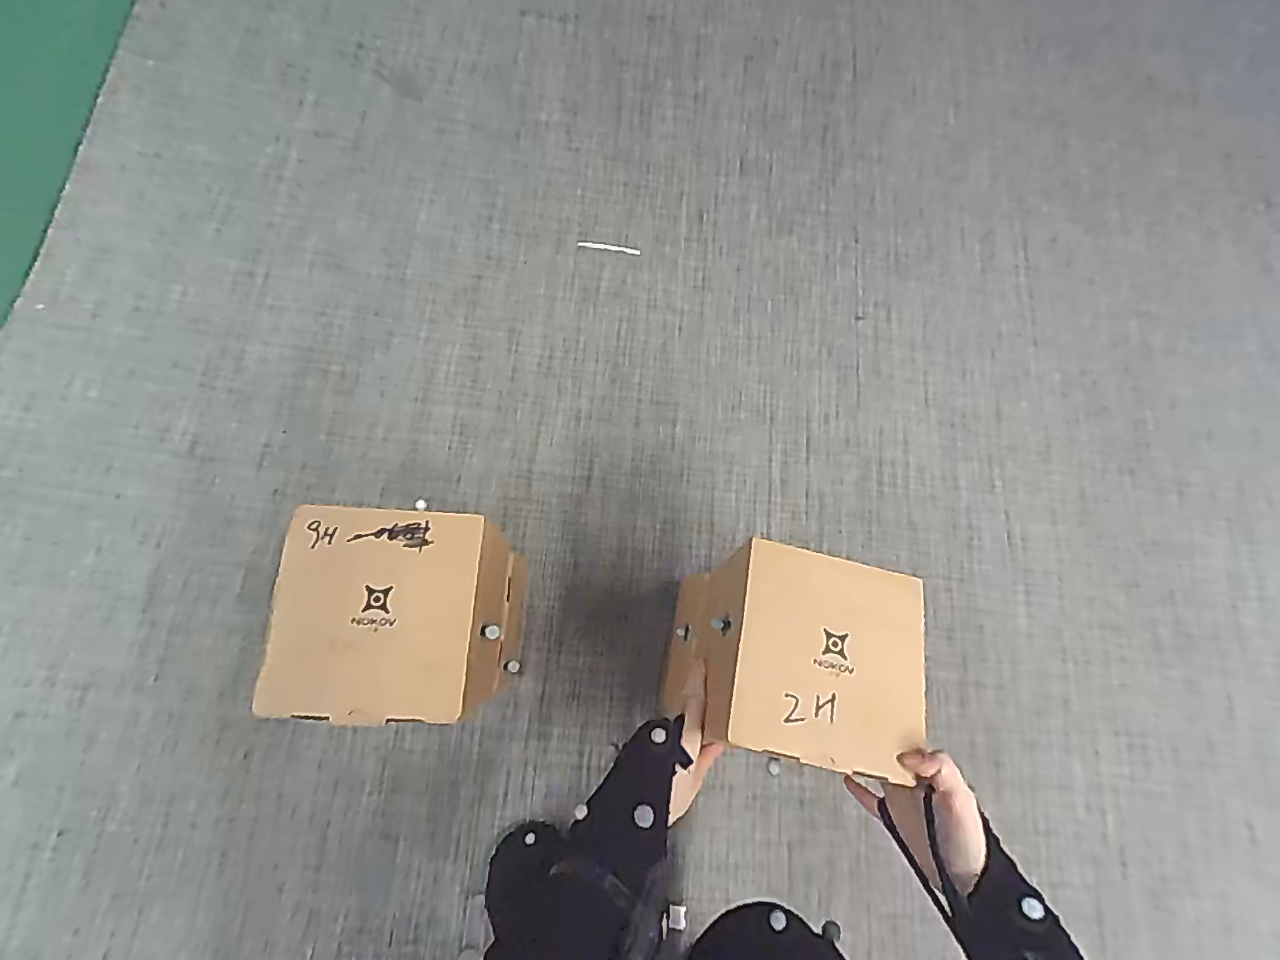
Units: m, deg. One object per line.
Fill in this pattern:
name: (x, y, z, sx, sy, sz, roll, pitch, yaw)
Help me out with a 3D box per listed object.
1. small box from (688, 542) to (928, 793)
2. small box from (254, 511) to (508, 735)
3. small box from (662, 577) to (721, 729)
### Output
small box: (0.153, 0.184, 0.531, 0.168, 0.176, 0.179, 14, 65, -2)
small box: (-0.227, 0.134, 0.528, 0.168, 0.176, 0.179, 4, 76, -6)
small box: (0.132, 0.235, 0.716, 0.168, 0.176, 0.179, 13, 76, -4)
